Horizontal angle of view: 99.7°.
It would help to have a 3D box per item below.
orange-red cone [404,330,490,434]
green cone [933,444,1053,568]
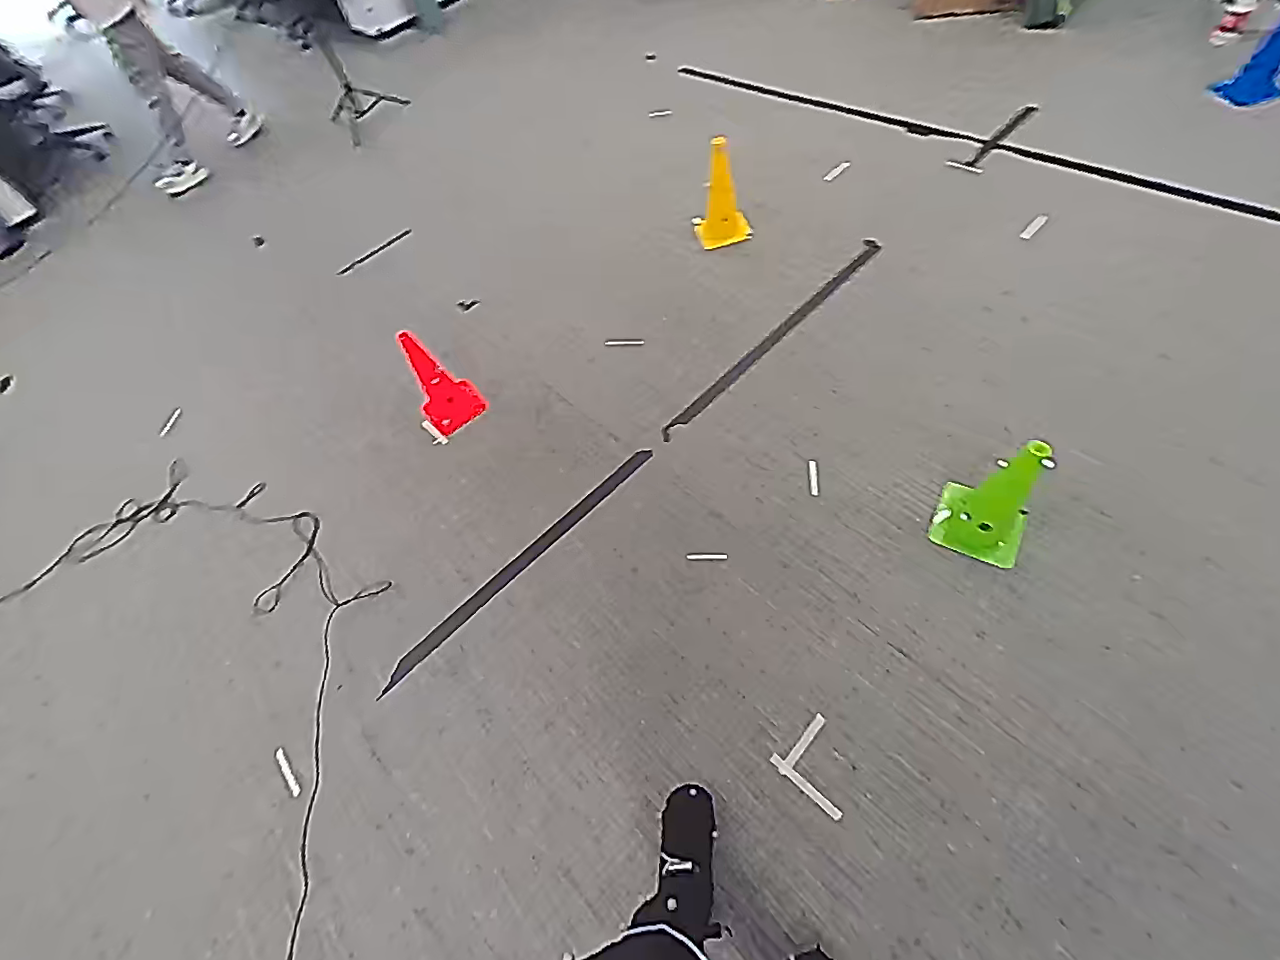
[{"bbox_3d":[-0.687,-0.360,1.817,0.199,0.360,0.198,-35,59,-13],"label":"orange-red cone"},{"bbox_3d":[0.864,0.027,1.273,0.200,0.368,0.202,22,66,23],"label":"green cone"}]
